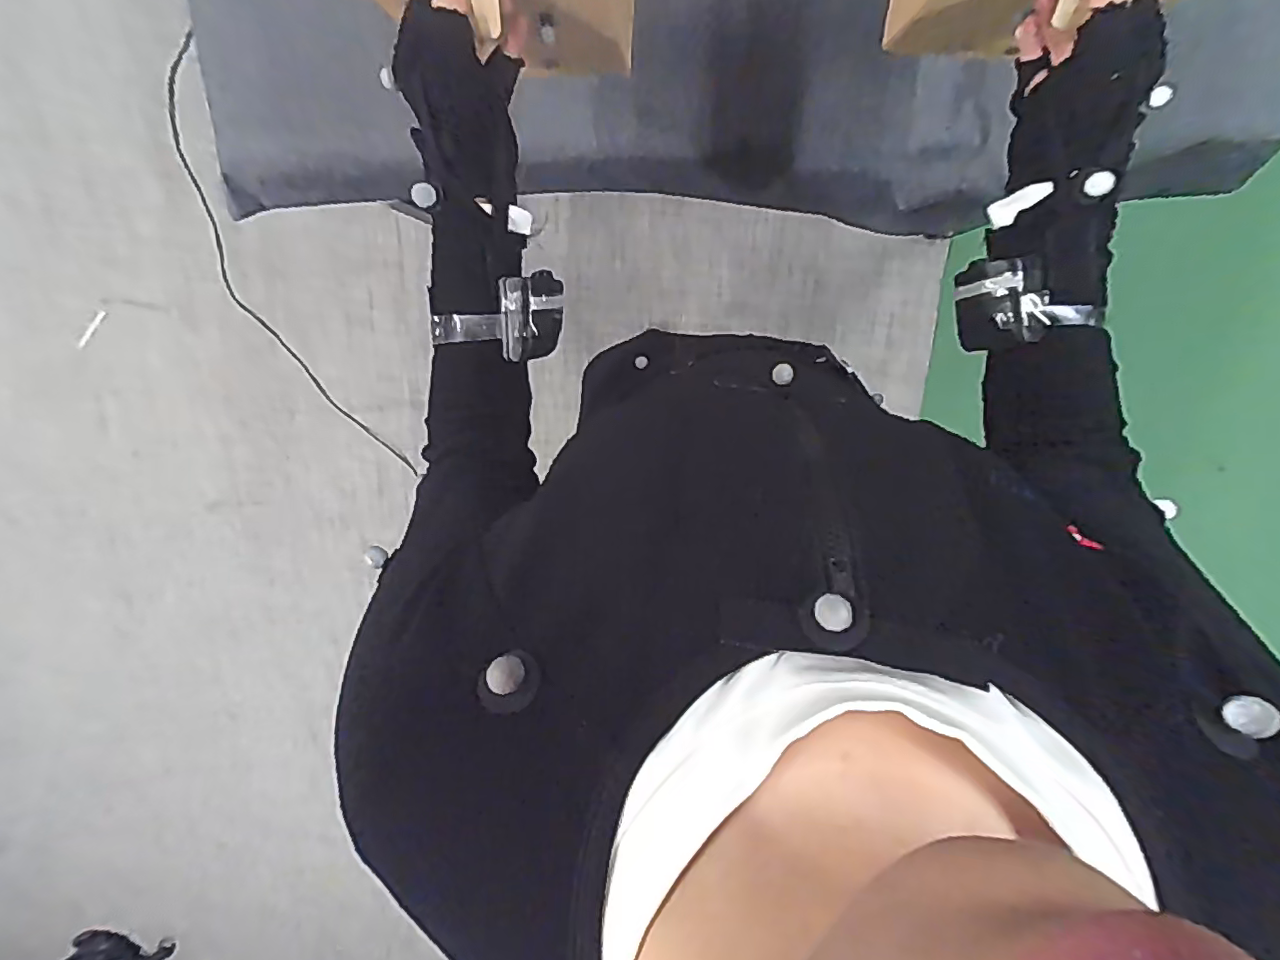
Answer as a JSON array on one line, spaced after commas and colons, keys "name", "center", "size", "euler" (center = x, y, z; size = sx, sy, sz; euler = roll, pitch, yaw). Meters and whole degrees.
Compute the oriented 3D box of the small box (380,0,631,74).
[{"name": "small box", "center": [-0.095, -0.409, 0.366], "size": [0.168, 0.176, 0.179], "euler": [4, 104, 5]}]
